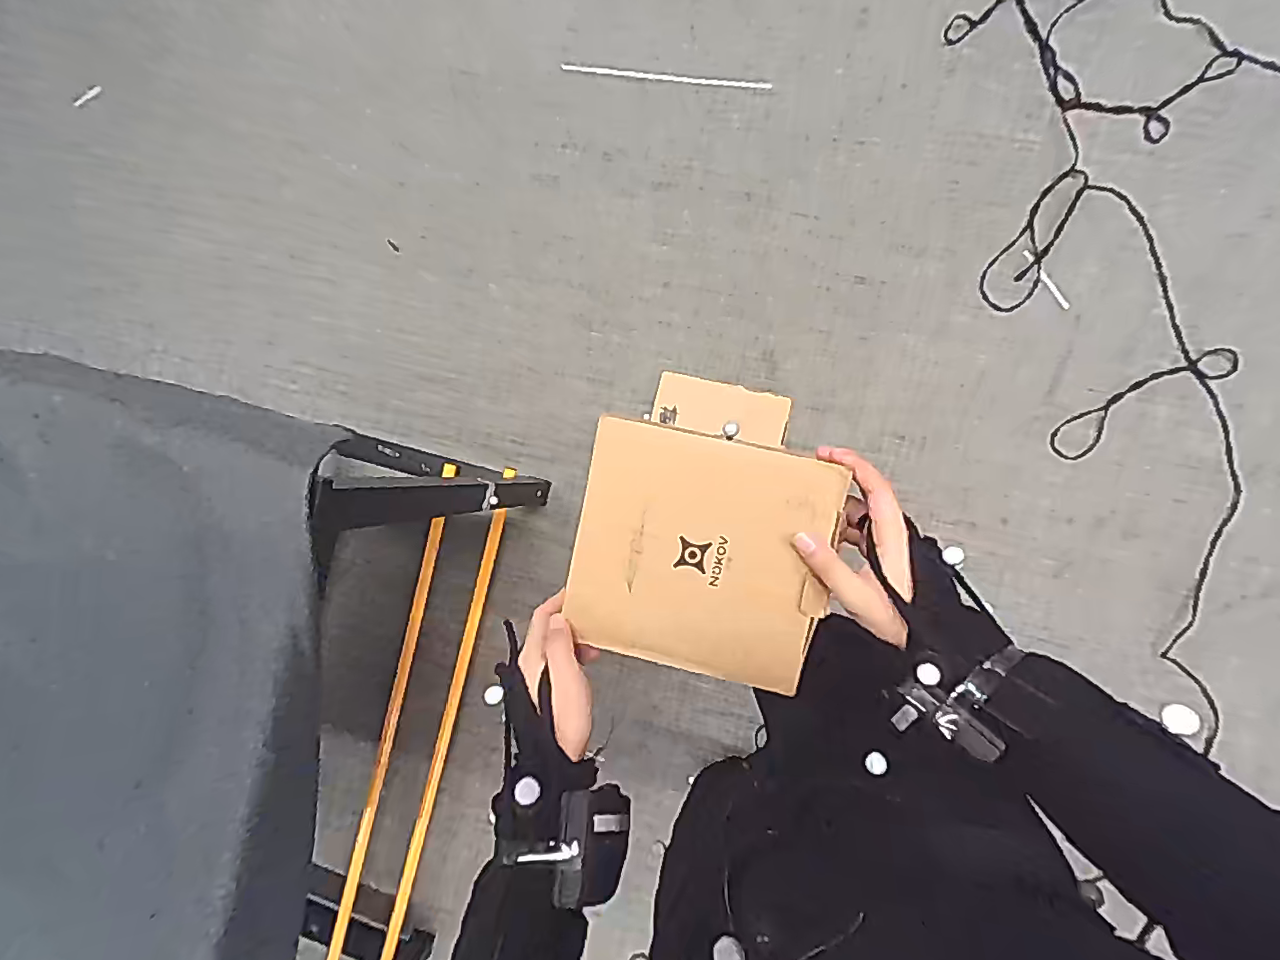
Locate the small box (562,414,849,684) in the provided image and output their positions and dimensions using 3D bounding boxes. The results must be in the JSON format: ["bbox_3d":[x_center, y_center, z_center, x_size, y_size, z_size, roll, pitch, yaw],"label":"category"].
[{"bbox_3d":[0.052,0.043,0.460,0.179,0.176,0.168,12,95,7],"label":"small box"}]

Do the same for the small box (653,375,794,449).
[{"bbox_3d":[0.104,-0.039,0.782,0.179,0.176,0.168,15,91,8],"label":"small box"}]
